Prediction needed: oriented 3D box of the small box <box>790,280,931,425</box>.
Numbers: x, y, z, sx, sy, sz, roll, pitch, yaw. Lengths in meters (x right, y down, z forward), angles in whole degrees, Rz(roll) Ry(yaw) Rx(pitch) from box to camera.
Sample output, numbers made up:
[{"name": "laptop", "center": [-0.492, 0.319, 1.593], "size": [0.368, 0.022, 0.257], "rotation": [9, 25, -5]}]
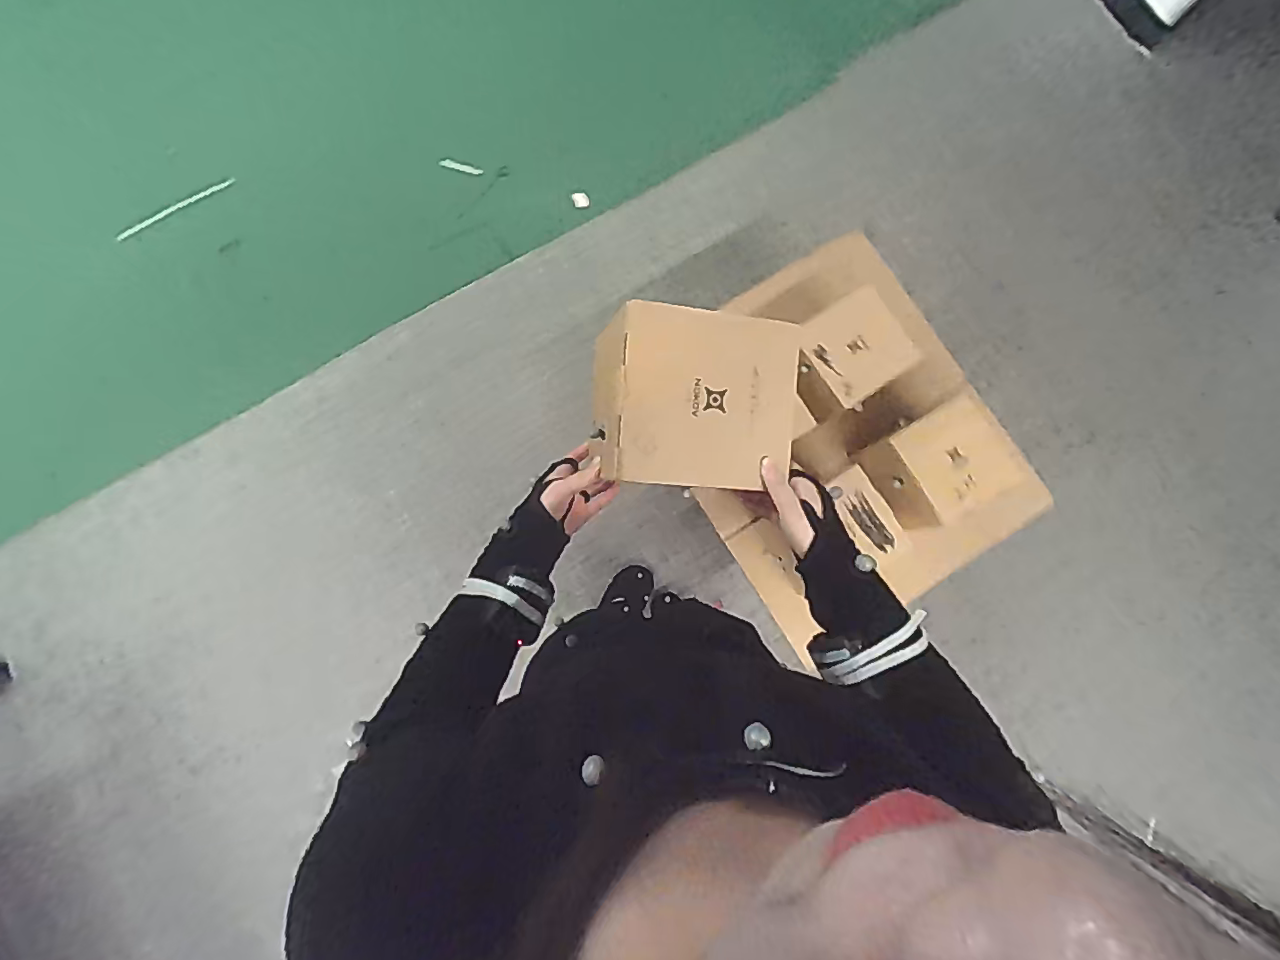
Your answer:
[{"name": "small box", "center": [0.382, -0.227, 1.003], "size": [0.179, 0.176, 0.168], "rotation": [-33, 83, -6]}]

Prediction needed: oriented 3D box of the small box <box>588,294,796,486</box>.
[{"name": "small box", "center": [0.042, -0.083, 0.578], "size": [0.179, 0.176, 0.168], "rotation": [3, 92, -13]}]
